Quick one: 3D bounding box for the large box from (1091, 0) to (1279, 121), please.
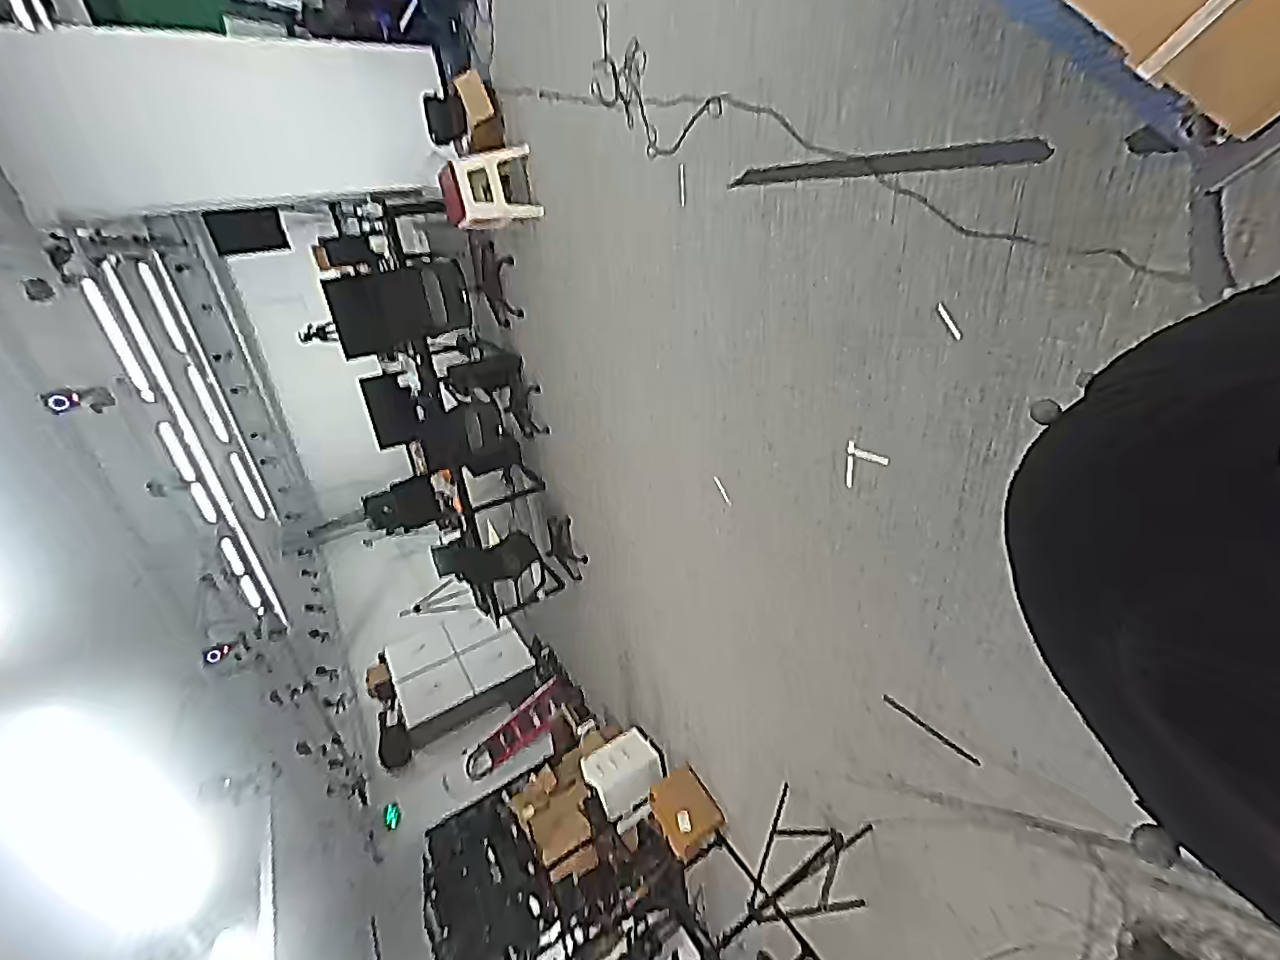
[{"bbox_3d":[0.816,-0.724,0.601,0.320,0.320,0.408,41,149,3],"label":"large box"}]
